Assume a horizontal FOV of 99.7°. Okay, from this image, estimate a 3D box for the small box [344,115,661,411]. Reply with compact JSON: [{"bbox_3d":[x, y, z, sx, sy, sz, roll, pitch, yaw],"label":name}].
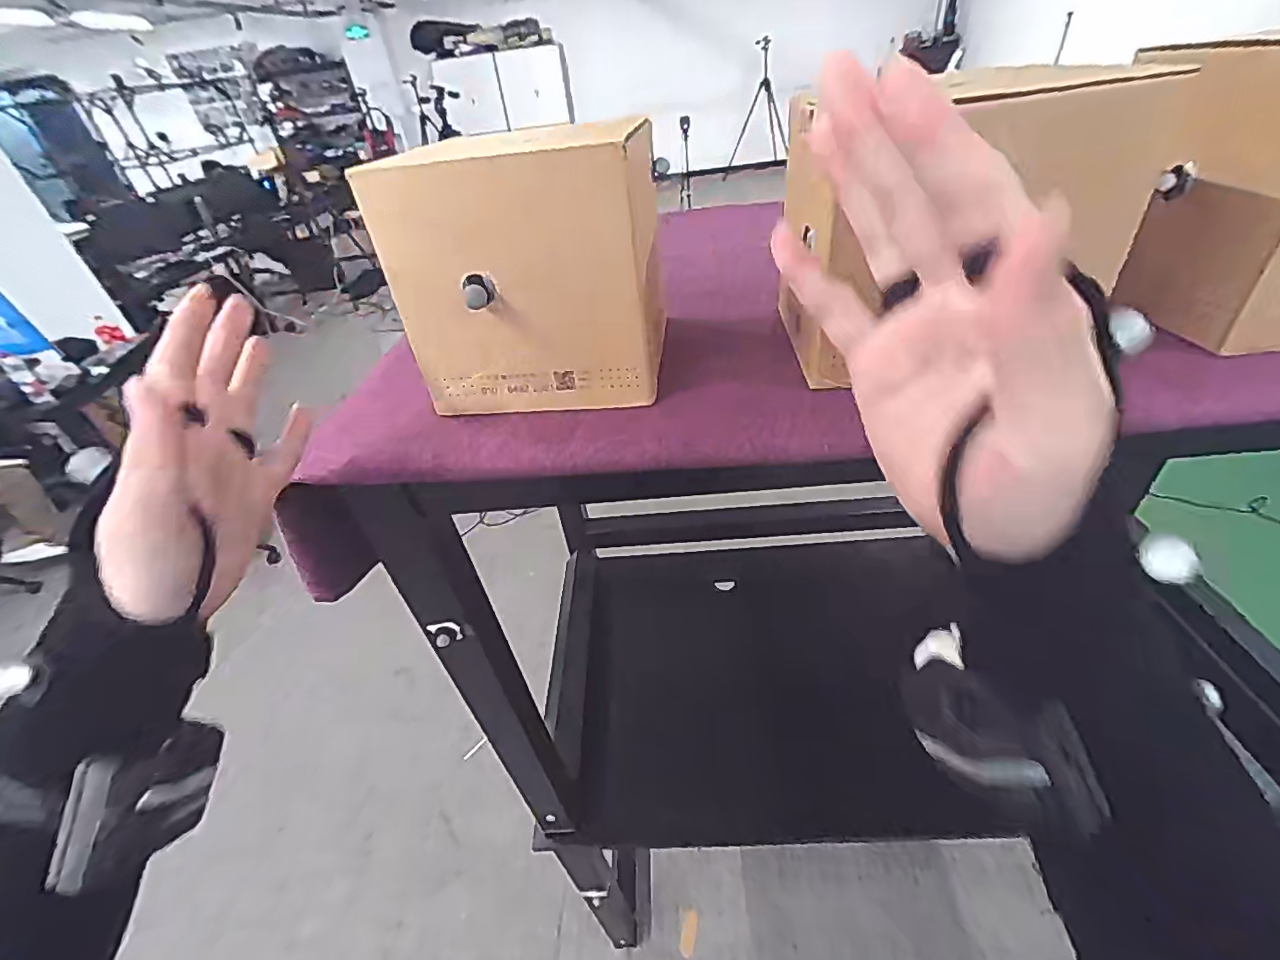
[{"bbox_3d":[-0.076,-0.162,0.414,0.168,0.176,0.179,-2,36,8],"label":"small box"}]
